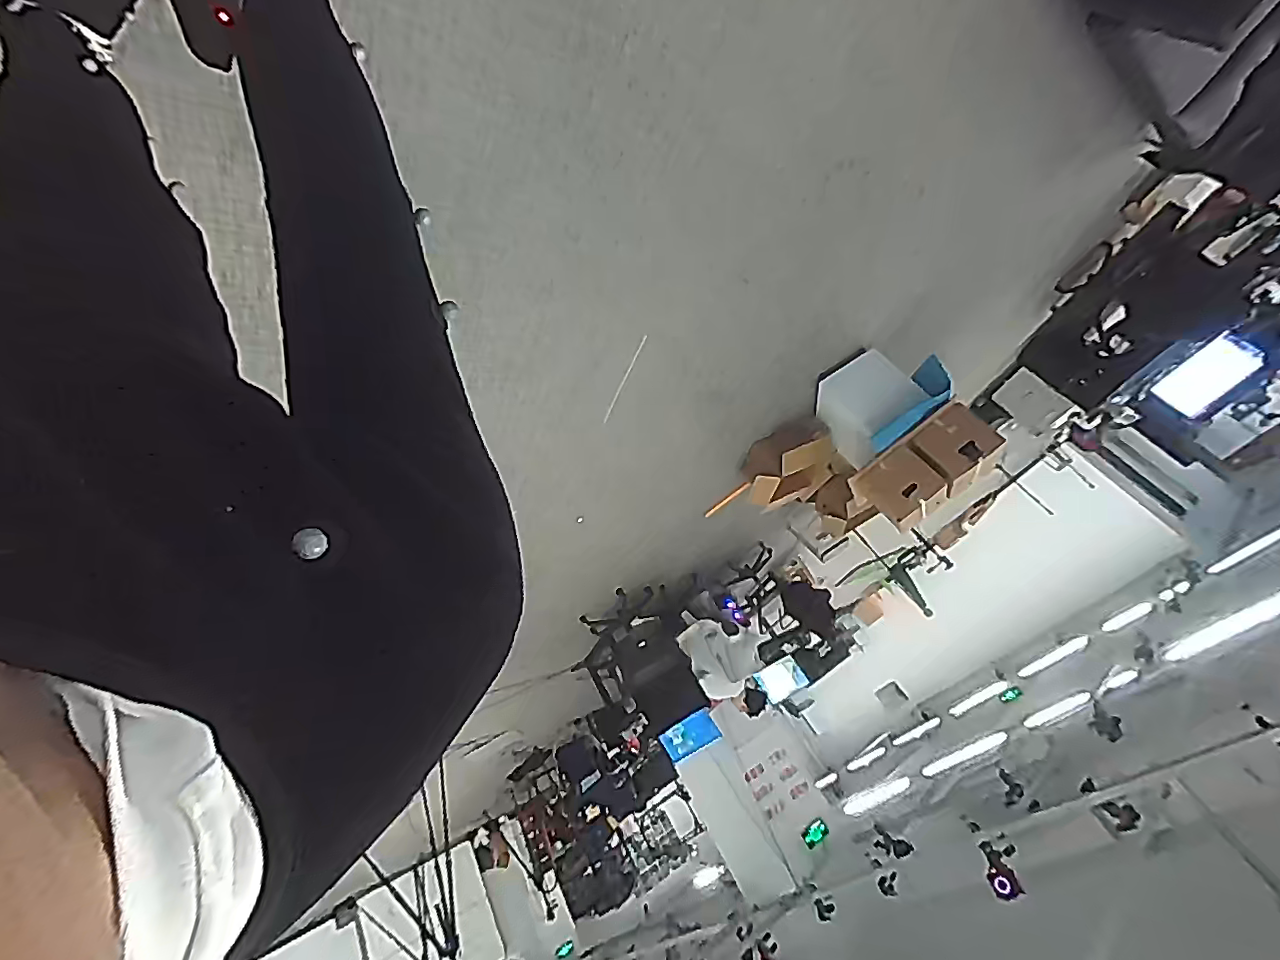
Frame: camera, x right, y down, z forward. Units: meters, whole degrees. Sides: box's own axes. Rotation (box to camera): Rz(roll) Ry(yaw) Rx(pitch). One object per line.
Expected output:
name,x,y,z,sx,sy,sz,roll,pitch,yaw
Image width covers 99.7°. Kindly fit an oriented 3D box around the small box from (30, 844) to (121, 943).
small box,-1.676,1.226,1.614,0.168,0.176,0.179,-5,140,-39
